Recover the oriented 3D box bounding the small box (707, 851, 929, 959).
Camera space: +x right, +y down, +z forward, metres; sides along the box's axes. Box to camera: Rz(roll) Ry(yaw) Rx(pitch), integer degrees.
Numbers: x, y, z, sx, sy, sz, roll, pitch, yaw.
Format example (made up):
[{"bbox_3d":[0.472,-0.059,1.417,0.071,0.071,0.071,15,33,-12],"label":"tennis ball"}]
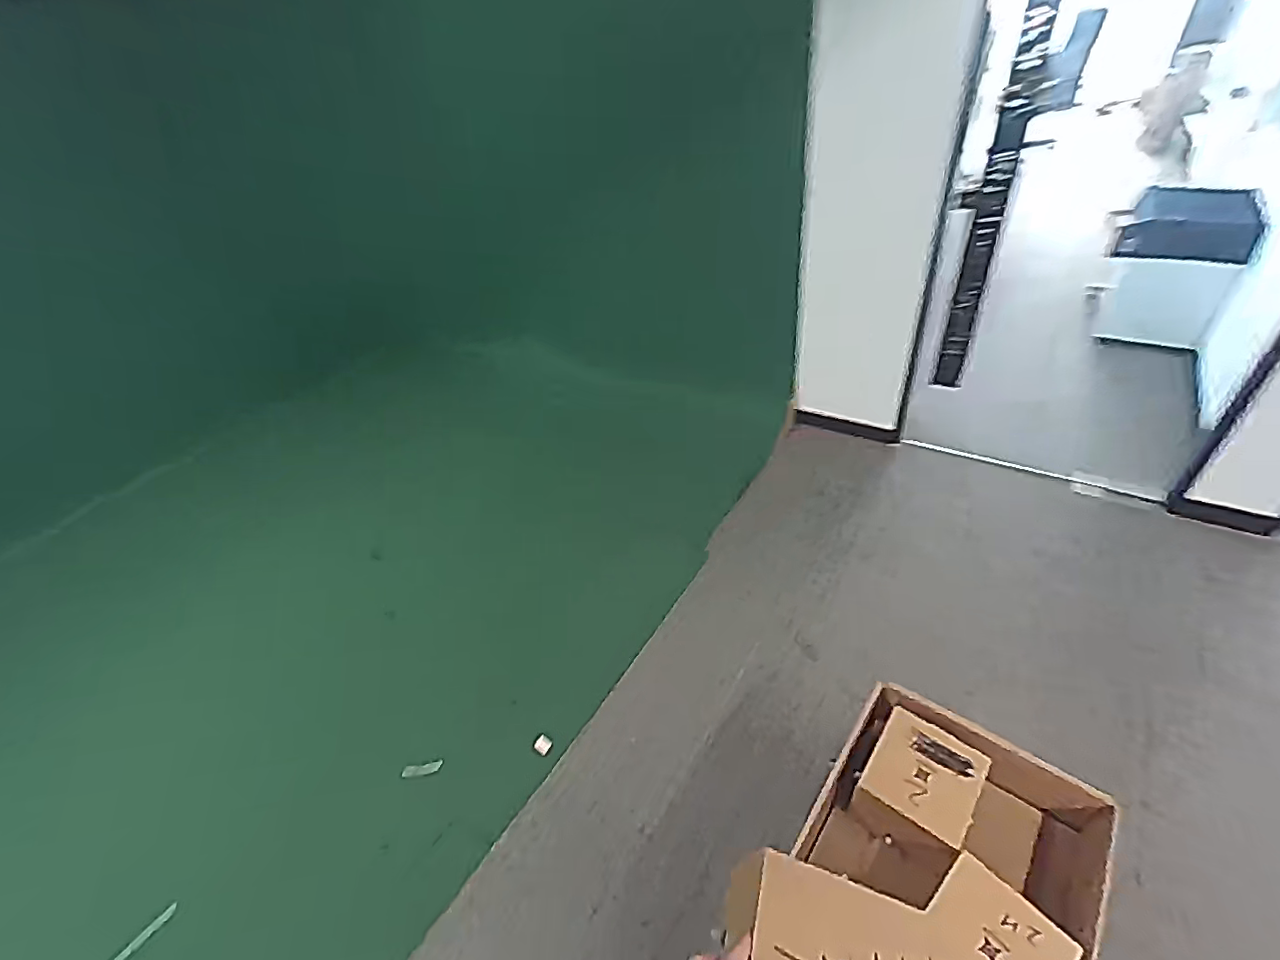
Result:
[{"bbox_3d":[0.174,0.523,0.564,0.179,0.176,0.168,19,48,7],"label":"small box"}]
